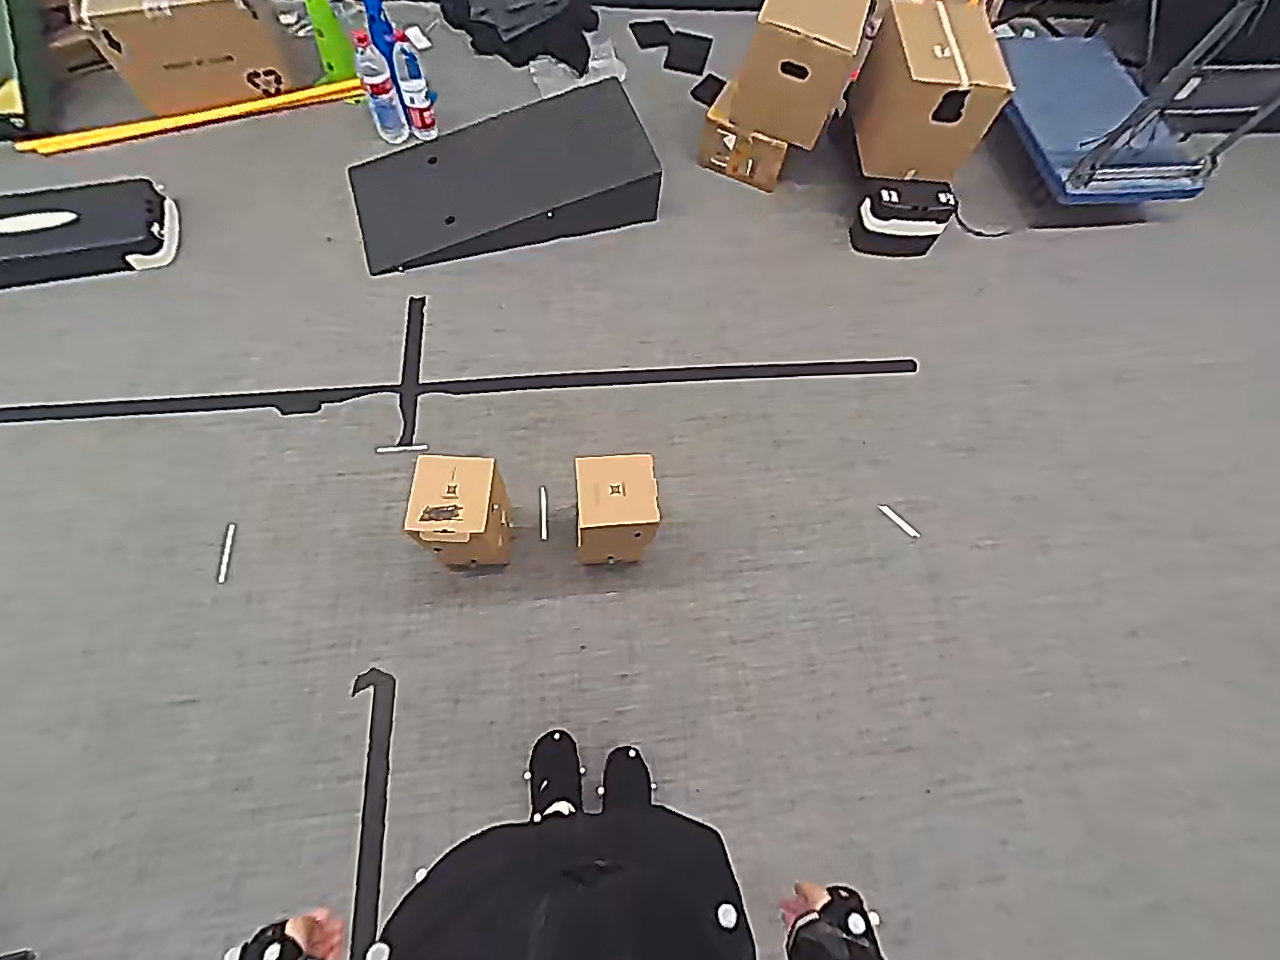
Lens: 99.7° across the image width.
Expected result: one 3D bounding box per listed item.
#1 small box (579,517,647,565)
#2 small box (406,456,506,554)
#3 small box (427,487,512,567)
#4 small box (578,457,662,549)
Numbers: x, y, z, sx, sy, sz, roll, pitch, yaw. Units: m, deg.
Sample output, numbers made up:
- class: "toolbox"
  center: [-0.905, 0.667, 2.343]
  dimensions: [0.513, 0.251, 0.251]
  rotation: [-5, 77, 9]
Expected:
- class: "small box"
  center: [-0.074, 0.114, 1.397]
  dimensions: [0.168, 0.176, 0.179]
  rotation: [-1, 68, -5]
- class: "small box"
  center: [-0.402, 0.063, 1.210]
  dimensions: [0.168, 0.176, 0.179]
  rotation: [3, 67, -4]
- class: "small box"
  center: [-0.420, 0.120, 1.364]
  dimensions: [0.179, 0.176, 0.168]
  rotation: [-1, 68, -6]
- class: "small box"
  center: [-0.052, 0.057, 1.246]
  dimensions: [0.179, 0.176, 0.168]
  rotation: [-3, 67, -6]
